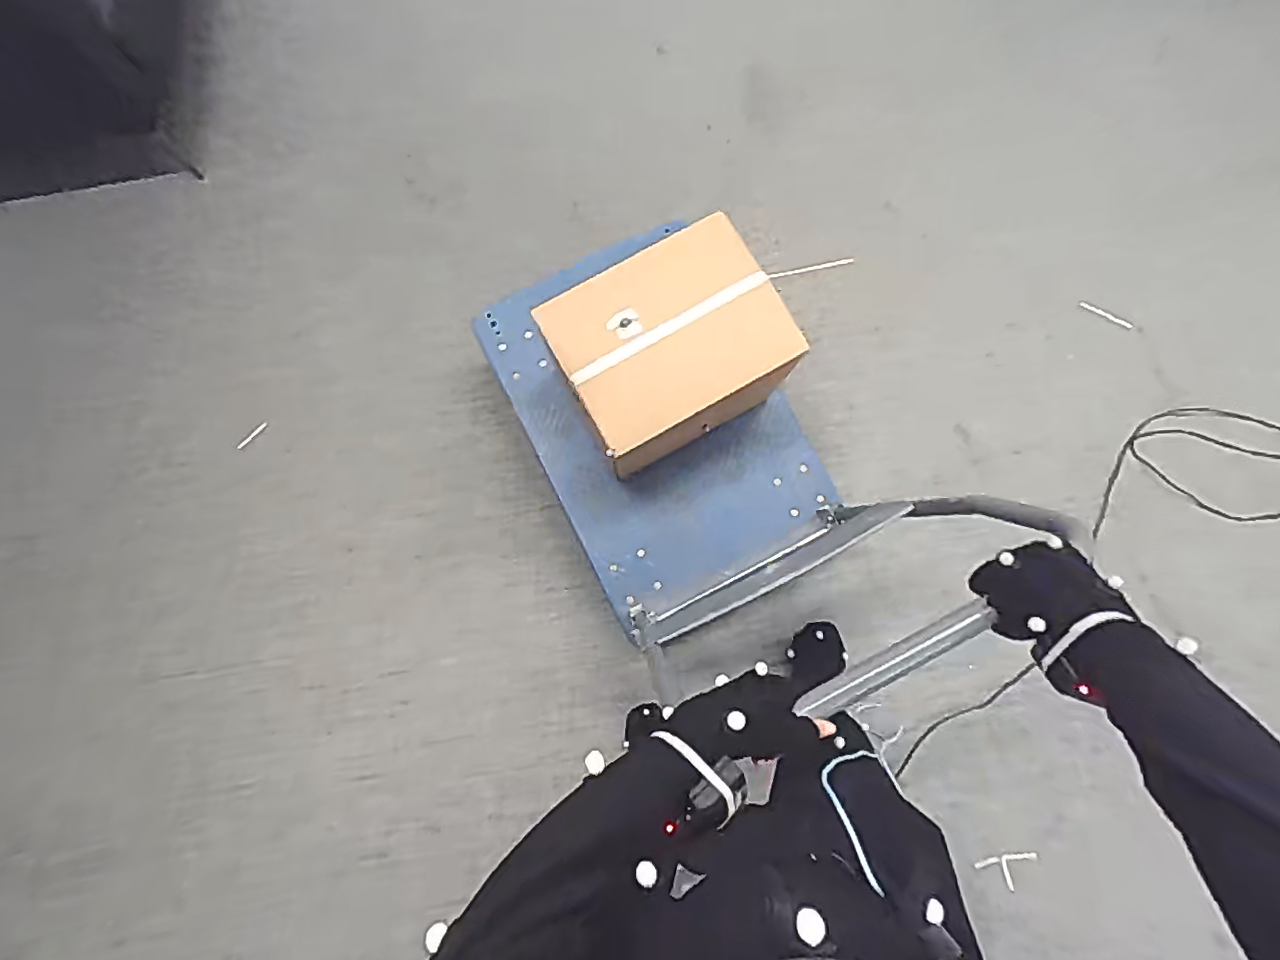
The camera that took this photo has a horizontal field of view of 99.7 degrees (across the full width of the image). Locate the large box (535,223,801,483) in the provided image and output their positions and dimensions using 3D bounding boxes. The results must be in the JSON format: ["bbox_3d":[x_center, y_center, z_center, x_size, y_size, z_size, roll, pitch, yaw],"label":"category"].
[{"bbox_3d":[0.051,-0.237,1.134,0.408,0.320,0.320,-32,83,-4],"label":"large box"}]
